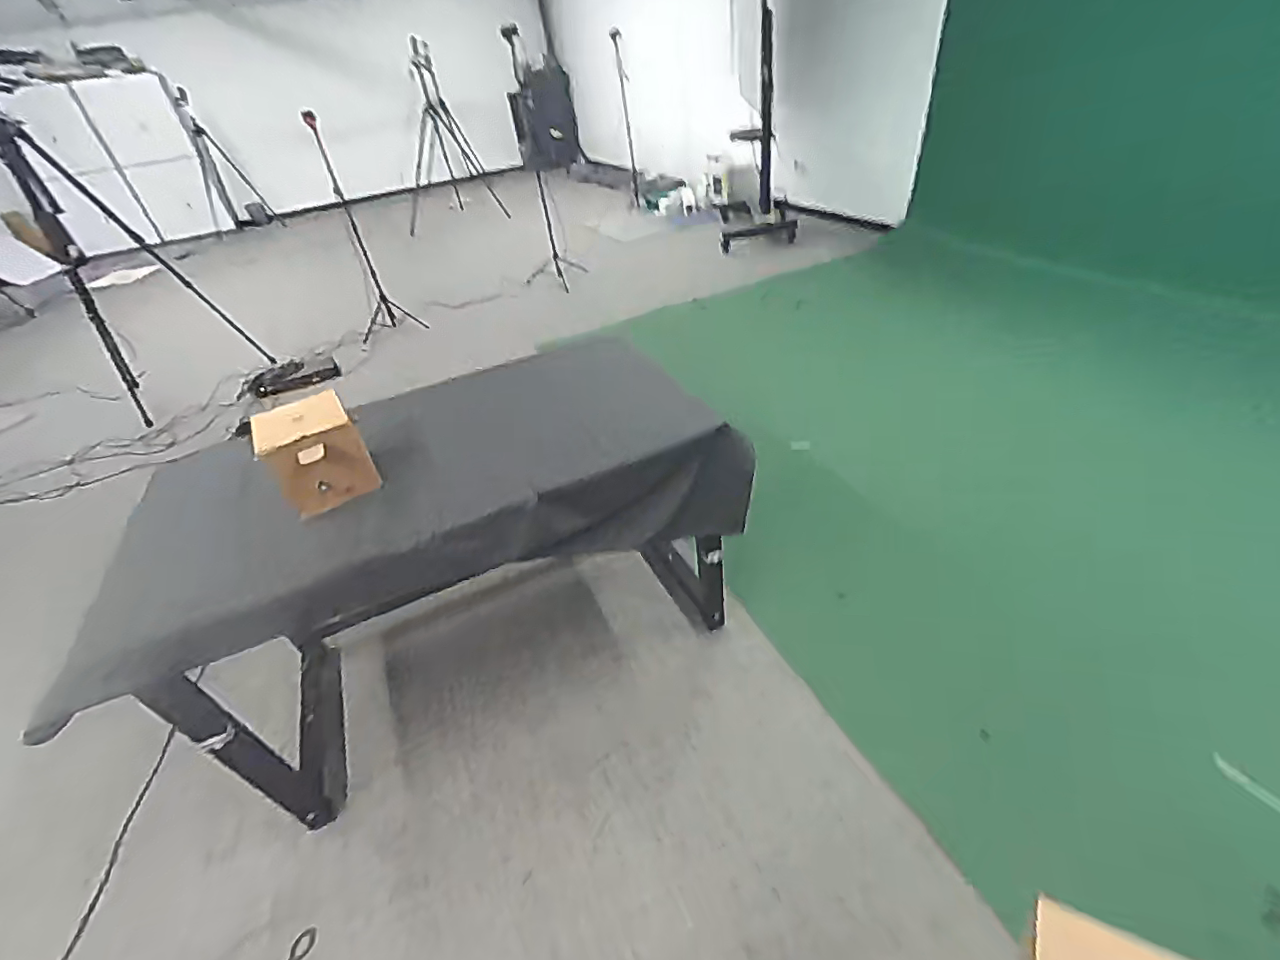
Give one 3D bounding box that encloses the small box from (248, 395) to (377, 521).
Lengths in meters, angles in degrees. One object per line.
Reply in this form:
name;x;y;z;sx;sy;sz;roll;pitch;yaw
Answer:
small box;-0.664;-0.046;1.102;0.168;0.176;0.179;-27;42;-23
